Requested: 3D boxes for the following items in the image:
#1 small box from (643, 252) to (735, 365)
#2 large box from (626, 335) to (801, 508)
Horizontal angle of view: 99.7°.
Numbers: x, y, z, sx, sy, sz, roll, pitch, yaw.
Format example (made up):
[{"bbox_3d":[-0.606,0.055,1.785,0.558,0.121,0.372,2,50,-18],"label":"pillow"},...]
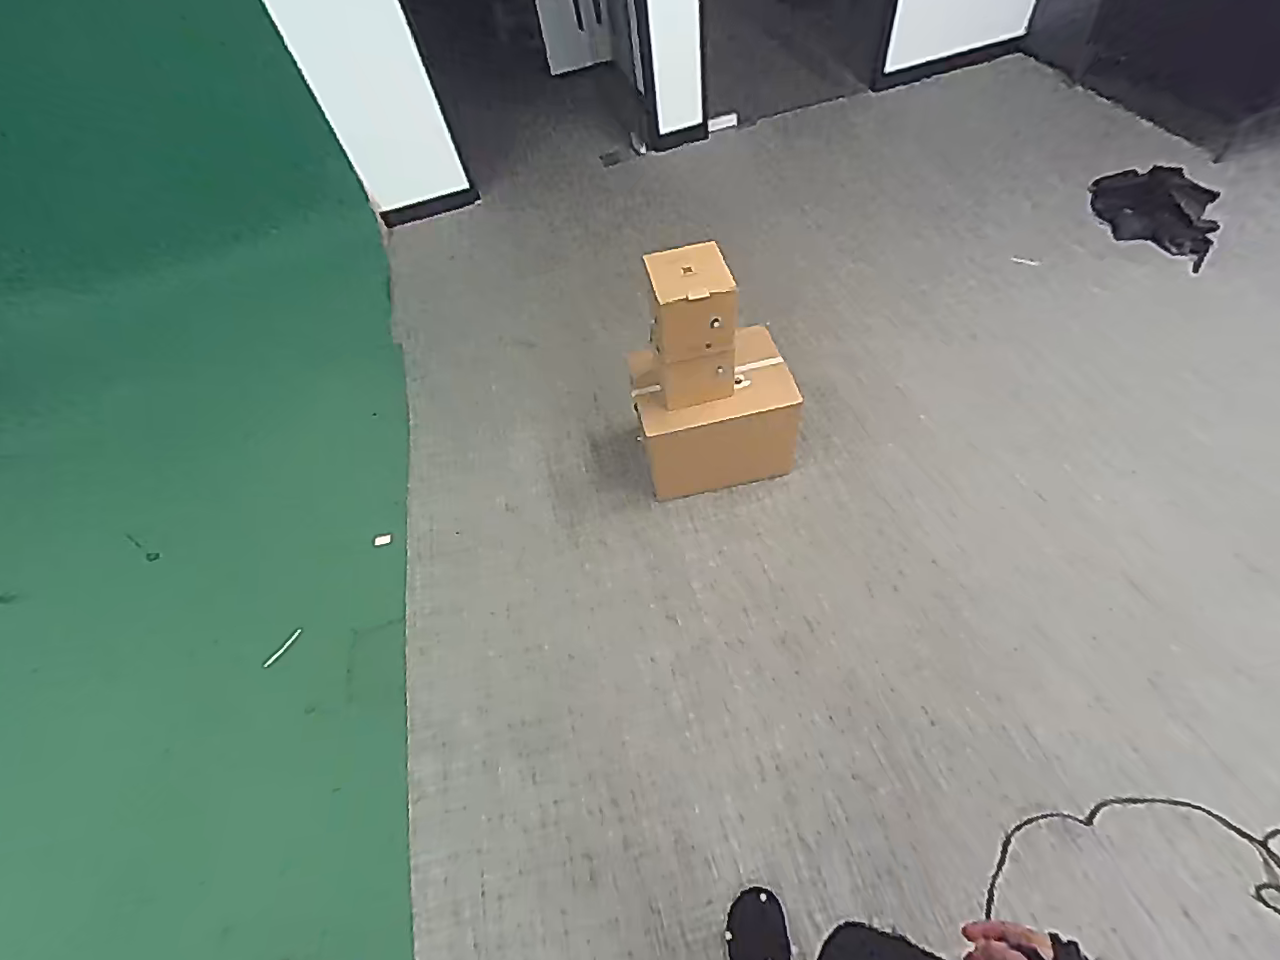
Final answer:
[{"bbox_3d":[0.108,-0.375,1.210,0.168,0.176,0.179,-12,53,-3],"label":"small box"},{"bbox_3d":[0.196,-0.161,1.548,0.408,0.320,0.320,-12,55,-2],"label":"large box"}]
